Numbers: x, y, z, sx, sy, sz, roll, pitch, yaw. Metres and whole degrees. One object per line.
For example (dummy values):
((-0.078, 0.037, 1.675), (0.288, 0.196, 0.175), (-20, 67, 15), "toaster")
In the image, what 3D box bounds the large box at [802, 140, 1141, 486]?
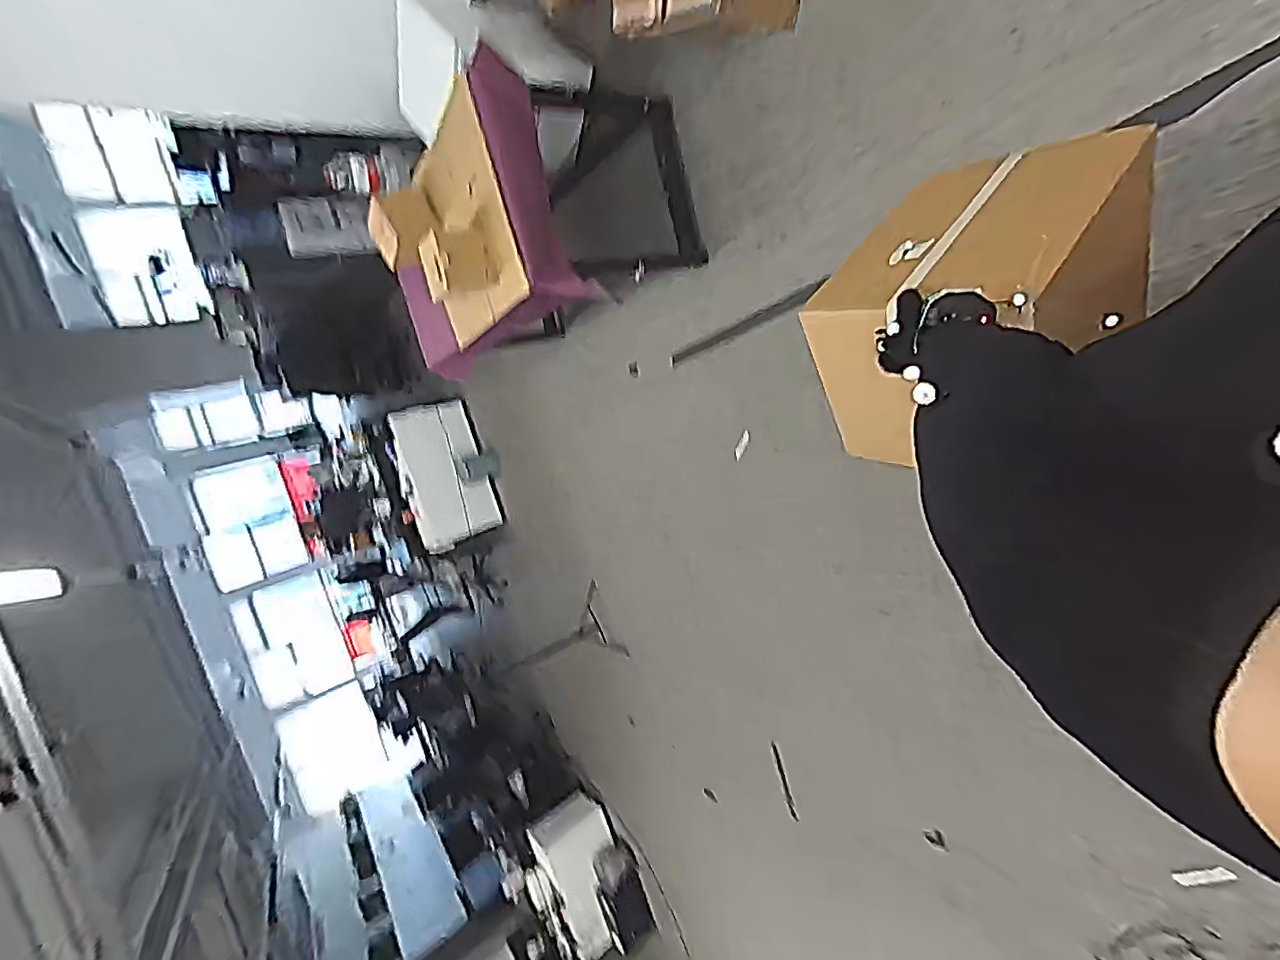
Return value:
((0.537, -0.260, 0.874), (0.320, 0.408, 0.320), (20, 151, 51), "large box")
